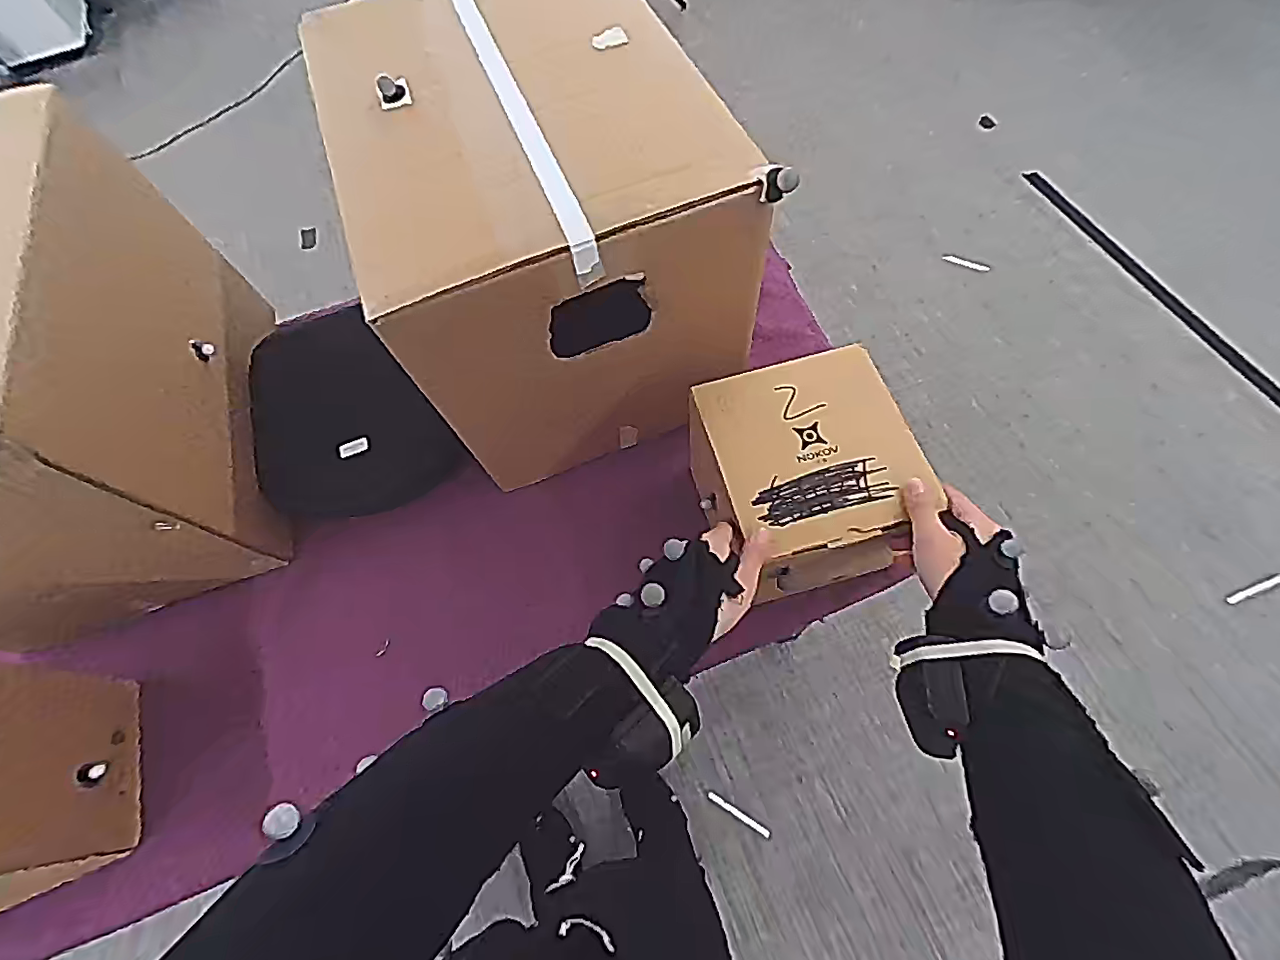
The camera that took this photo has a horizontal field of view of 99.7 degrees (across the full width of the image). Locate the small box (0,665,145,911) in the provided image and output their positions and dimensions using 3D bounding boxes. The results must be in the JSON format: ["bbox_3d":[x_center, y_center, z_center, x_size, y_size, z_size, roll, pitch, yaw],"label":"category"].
[{"bbox_3d":[-0.593,0.284,0.470,0.179,0.176,0.168,-22,64,-10],"label":"small box"}]

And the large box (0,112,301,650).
[{"bbox_3d":[-0.618,-0.079,0.568,0.320,0.320,0.408,-20,68,-4],"label":"large box"}]
